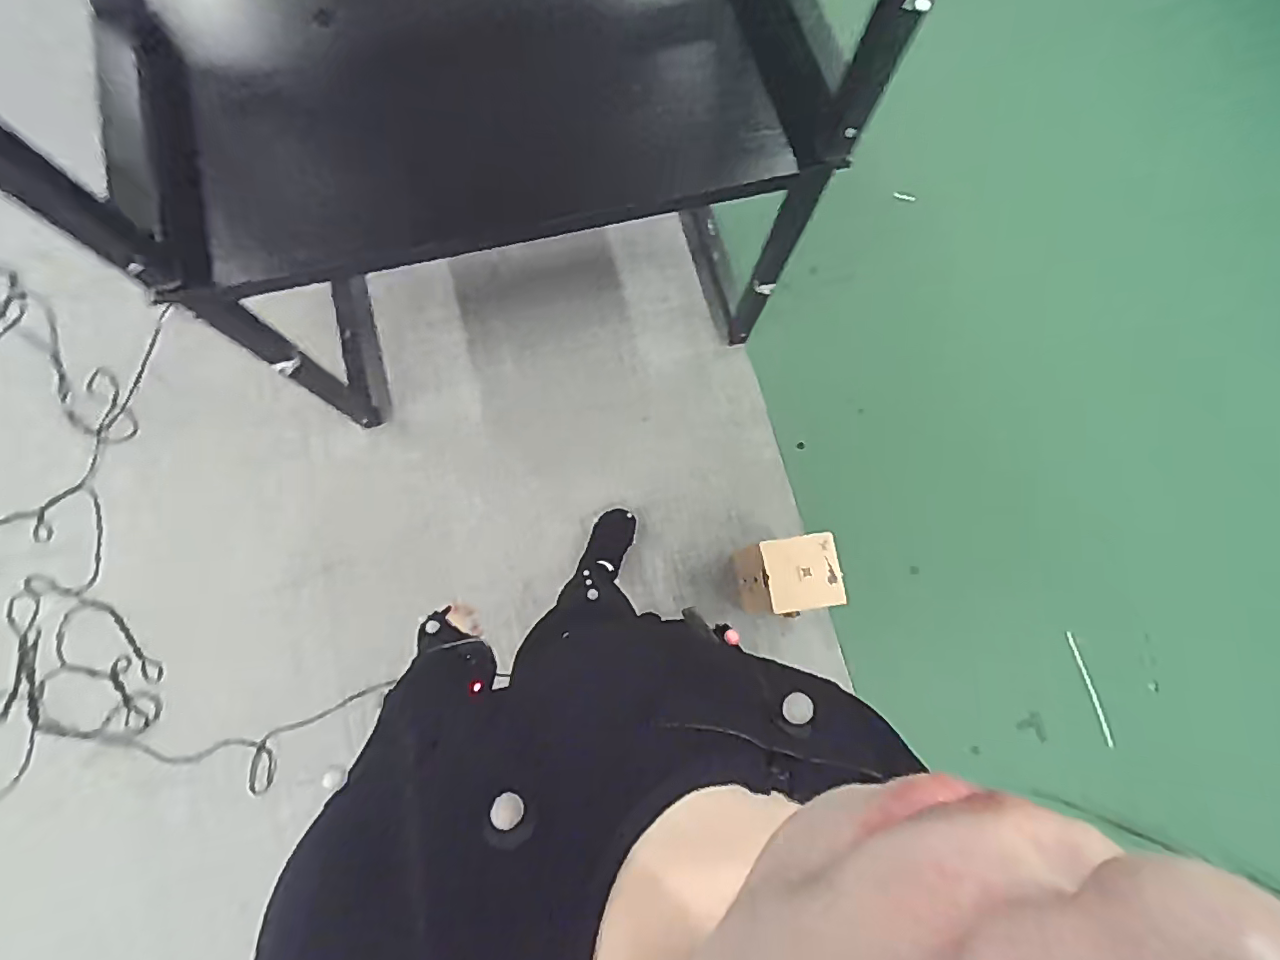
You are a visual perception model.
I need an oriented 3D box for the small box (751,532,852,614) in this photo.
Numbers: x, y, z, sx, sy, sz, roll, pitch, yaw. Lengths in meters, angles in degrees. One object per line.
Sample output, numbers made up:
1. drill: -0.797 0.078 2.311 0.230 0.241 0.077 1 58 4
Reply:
1. small box: 0.369 0.225 1.277 0.179 0.176 0.168 -7 77 -4
